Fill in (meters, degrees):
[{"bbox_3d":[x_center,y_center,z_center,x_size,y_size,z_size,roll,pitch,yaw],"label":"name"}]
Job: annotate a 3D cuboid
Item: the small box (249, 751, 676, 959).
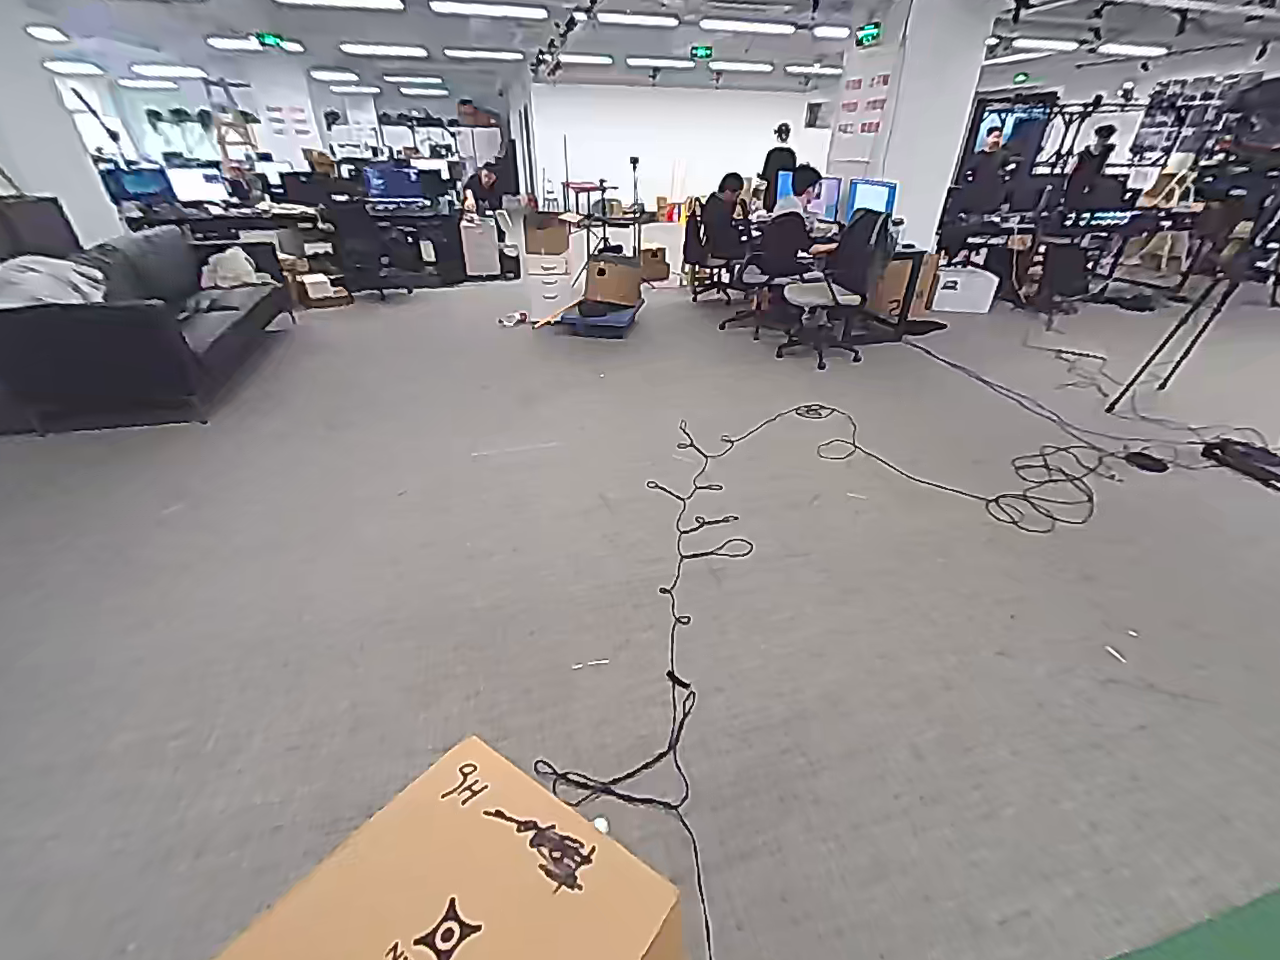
[{"bbox_3d":[-0.087,0.302,0.290,0.168,0.176,0.179,15,32,33],"label":"small box"}]
